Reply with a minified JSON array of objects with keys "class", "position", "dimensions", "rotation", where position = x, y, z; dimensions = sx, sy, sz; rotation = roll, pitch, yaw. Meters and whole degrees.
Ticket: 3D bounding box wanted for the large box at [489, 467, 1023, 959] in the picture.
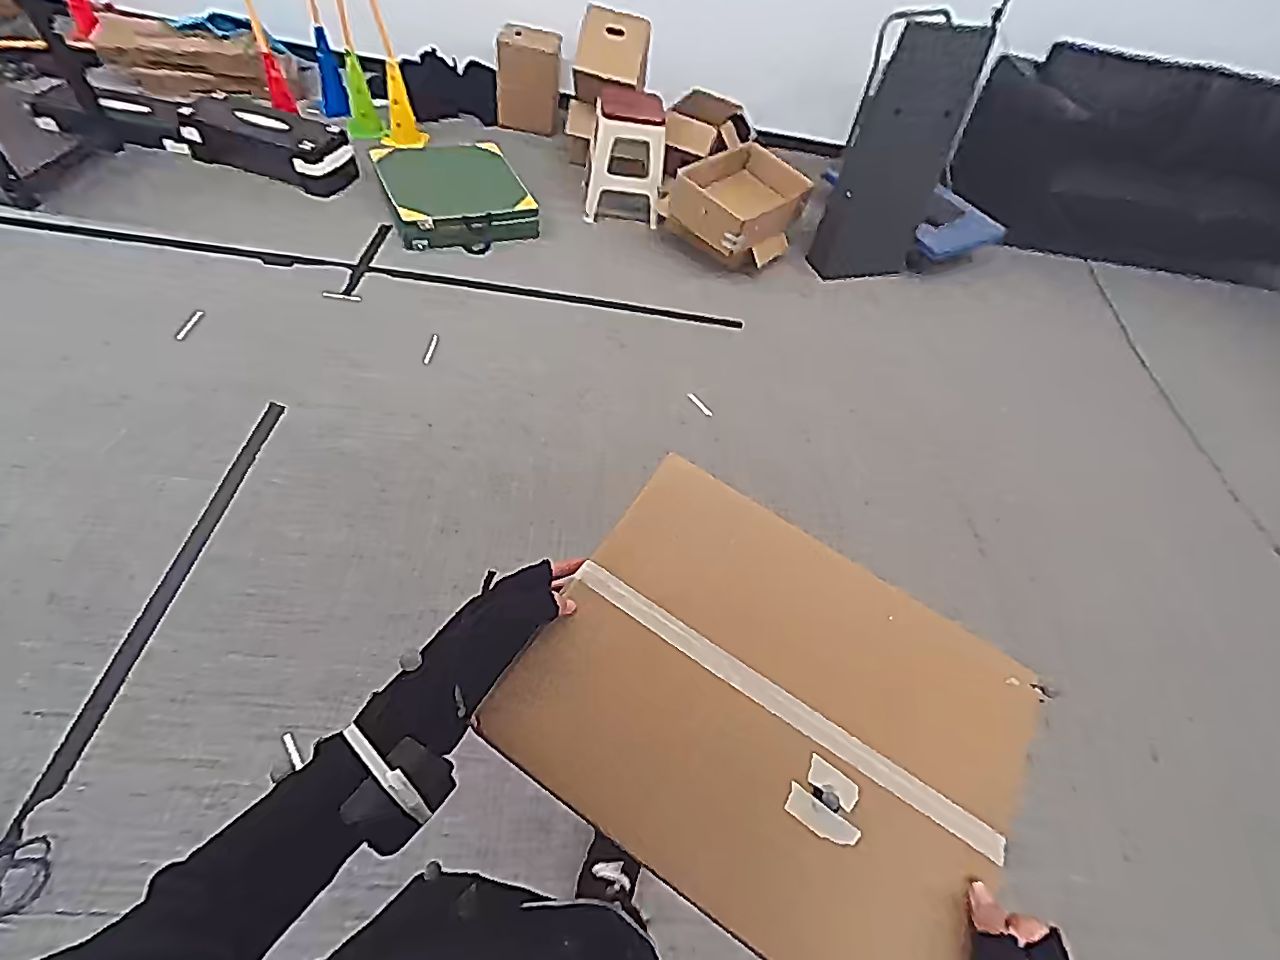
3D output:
[{"class":"large box","position":[0.100,0.261,0.606],"dimensions":[0.408,0.320,0.320],"rotation":[33,64,10]}]
